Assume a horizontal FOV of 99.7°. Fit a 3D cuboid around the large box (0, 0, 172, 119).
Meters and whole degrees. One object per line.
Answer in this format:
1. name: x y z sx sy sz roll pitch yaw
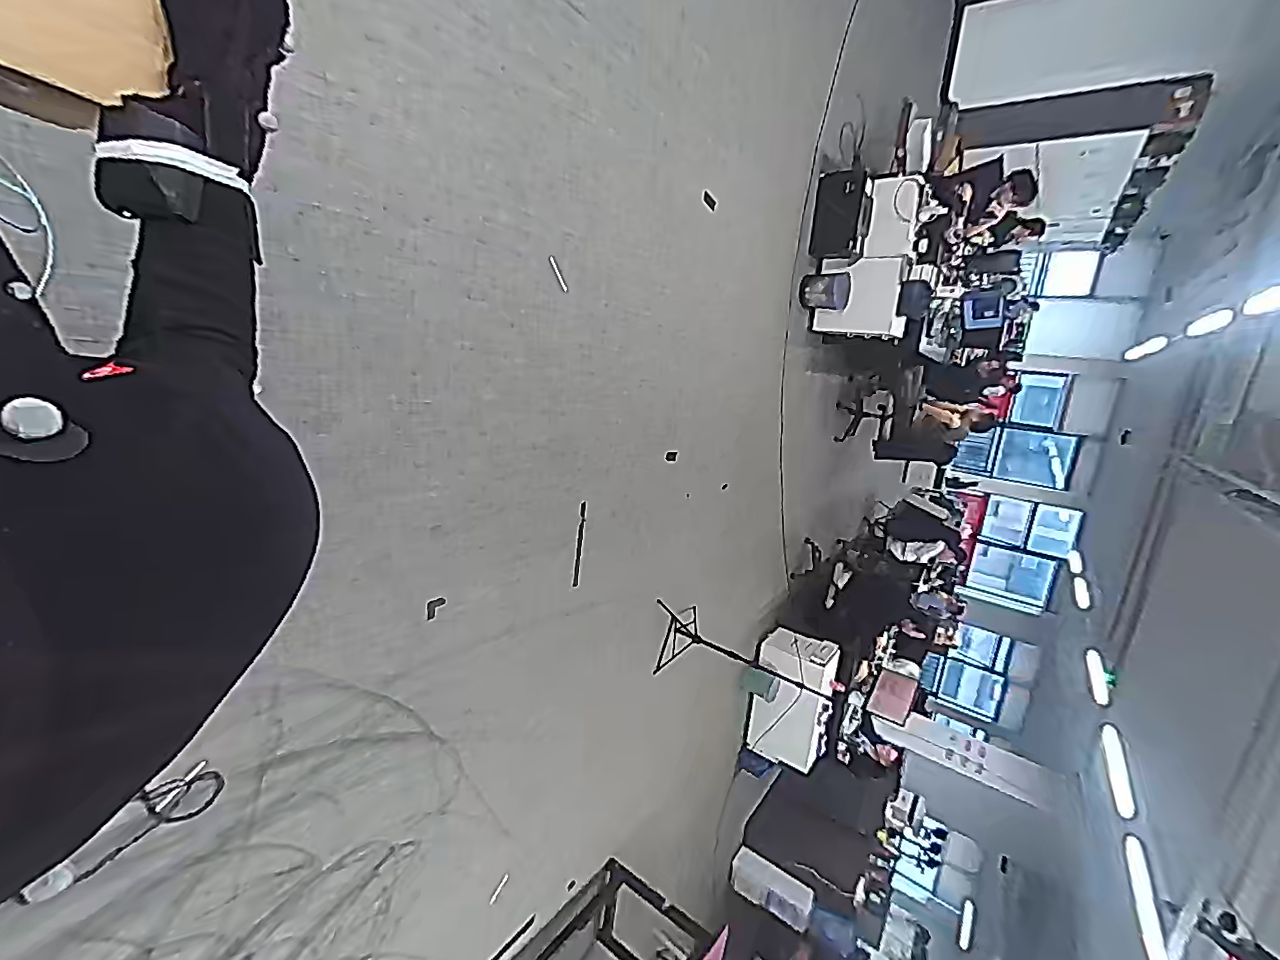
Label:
1. large box: -0.539 -0.450 0.278 0.408 0.320 0.320 -3 113 -56
